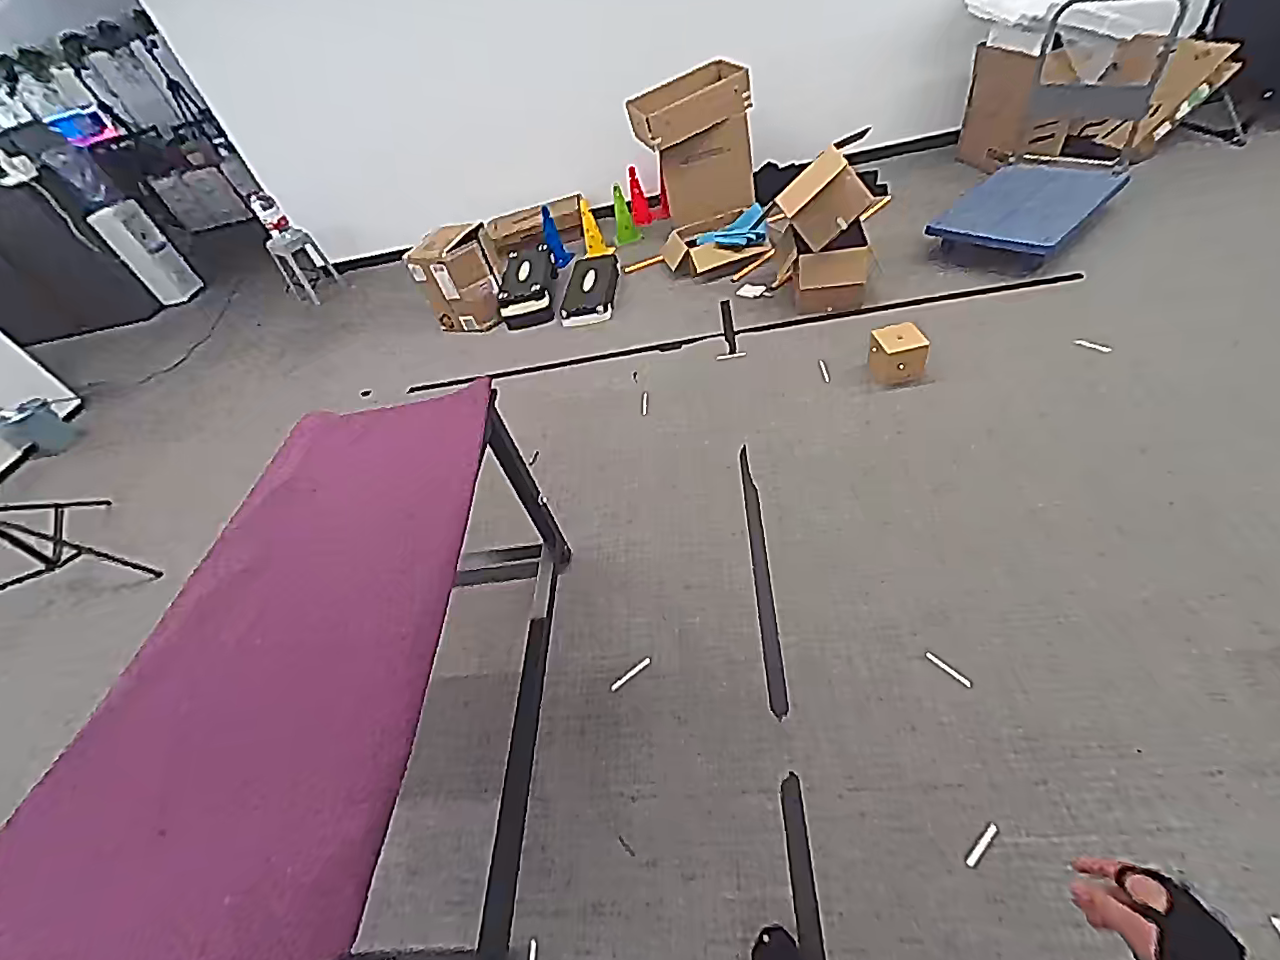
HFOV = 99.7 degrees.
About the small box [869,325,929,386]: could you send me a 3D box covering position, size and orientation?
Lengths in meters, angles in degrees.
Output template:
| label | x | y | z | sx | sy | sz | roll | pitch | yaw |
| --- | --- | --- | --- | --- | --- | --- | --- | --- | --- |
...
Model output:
| label | x | y | z | sx | sy | sz | roll | pitch | yaw |
| --- | --- | --- | --- | --- | --- | --- | --- | --- | --- |
| small box | 1.056 | -0.504 | 2.218 | 0.168 | 0.176 | 0.179 | -12 | 44 | 5 |
